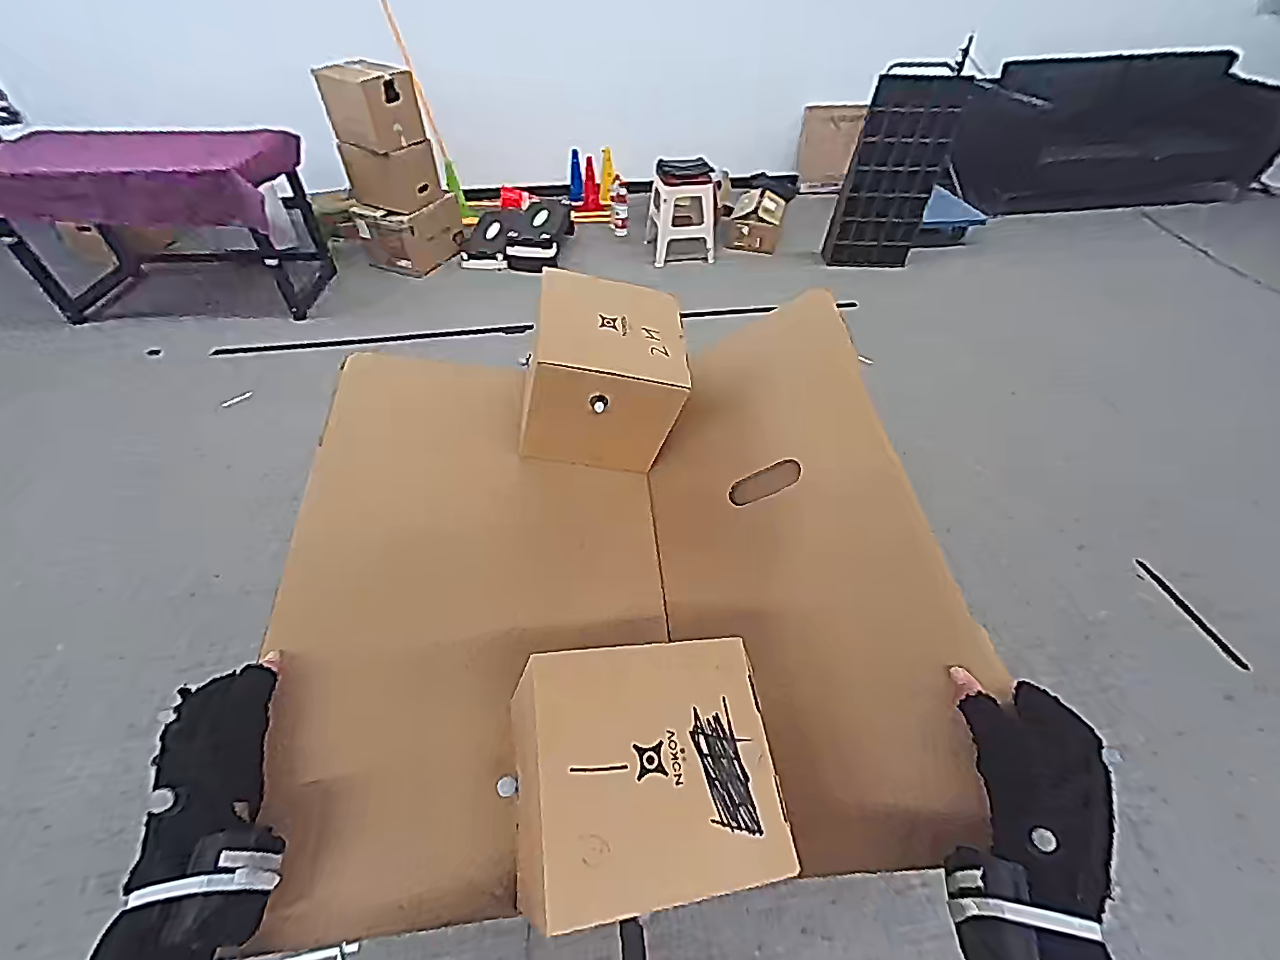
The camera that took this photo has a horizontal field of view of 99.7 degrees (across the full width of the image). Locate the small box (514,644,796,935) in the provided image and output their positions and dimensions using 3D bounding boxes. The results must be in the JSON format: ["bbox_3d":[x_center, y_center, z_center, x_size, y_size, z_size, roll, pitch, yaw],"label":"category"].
[{"bbox_3d":[-0.006,0.245,0.450,0.179,0.176,0.168,1,57,-18],"label":"small box"}]

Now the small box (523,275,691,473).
[{"bbox_3d":[-0.051,-0.126,0.693,0.179,0.176,0.168,8,54,-15],"label":"small box"}]
